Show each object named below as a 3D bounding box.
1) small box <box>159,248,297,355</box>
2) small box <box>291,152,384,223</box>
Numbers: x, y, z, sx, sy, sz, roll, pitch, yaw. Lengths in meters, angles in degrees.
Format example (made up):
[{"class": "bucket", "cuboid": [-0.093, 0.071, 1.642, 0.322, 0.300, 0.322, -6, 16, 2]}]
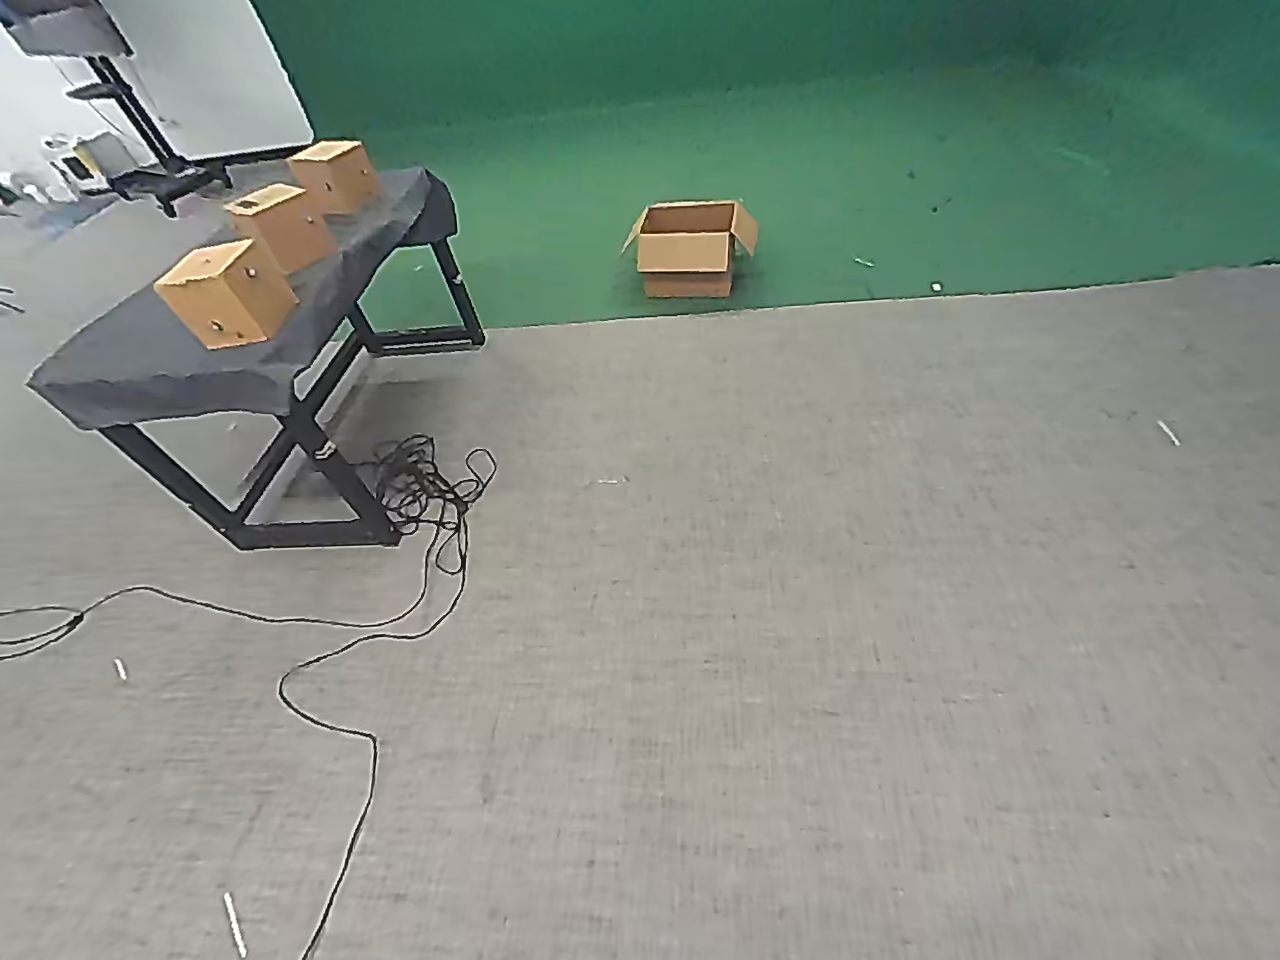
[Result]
[{"class": "small box", "cuboid": [-0.963, -0.424, 1.288, 0.168, 0.176, 0.179, -7, 48, 7]}, {"class": "small box", "cuboid": [-0.996, -0.970, 1.797, 0.179, 0.176, 0.168, 11, 50, 20]}]
